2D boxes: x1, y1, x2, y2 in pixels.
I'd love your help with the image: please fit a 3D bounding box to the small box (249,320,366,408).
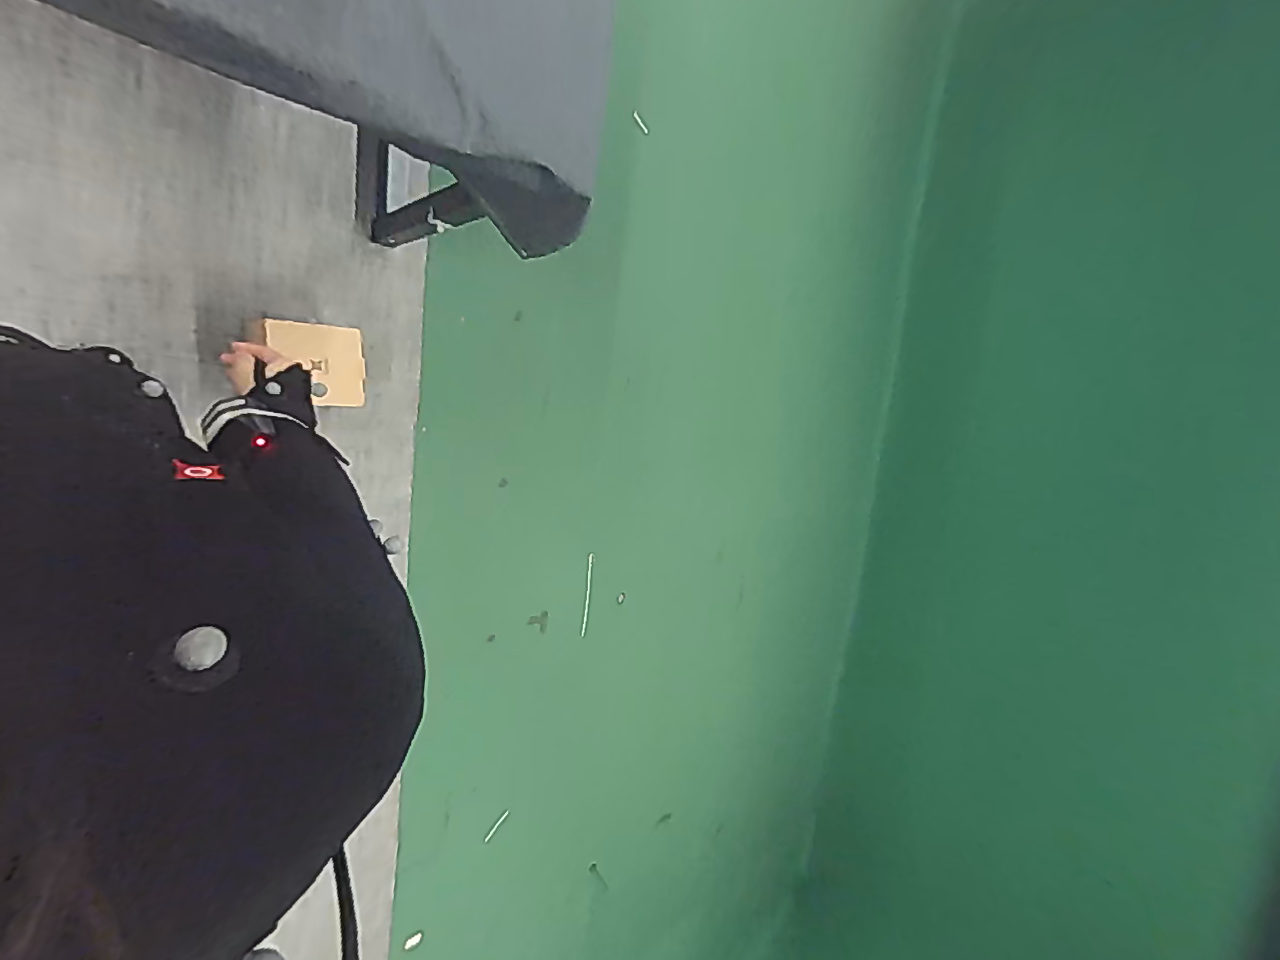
[{"bbox_3d":[-0.705,-0.243,1.148,0.179,0.176,0.168,-7,103,-44],"label":"small box"}]
